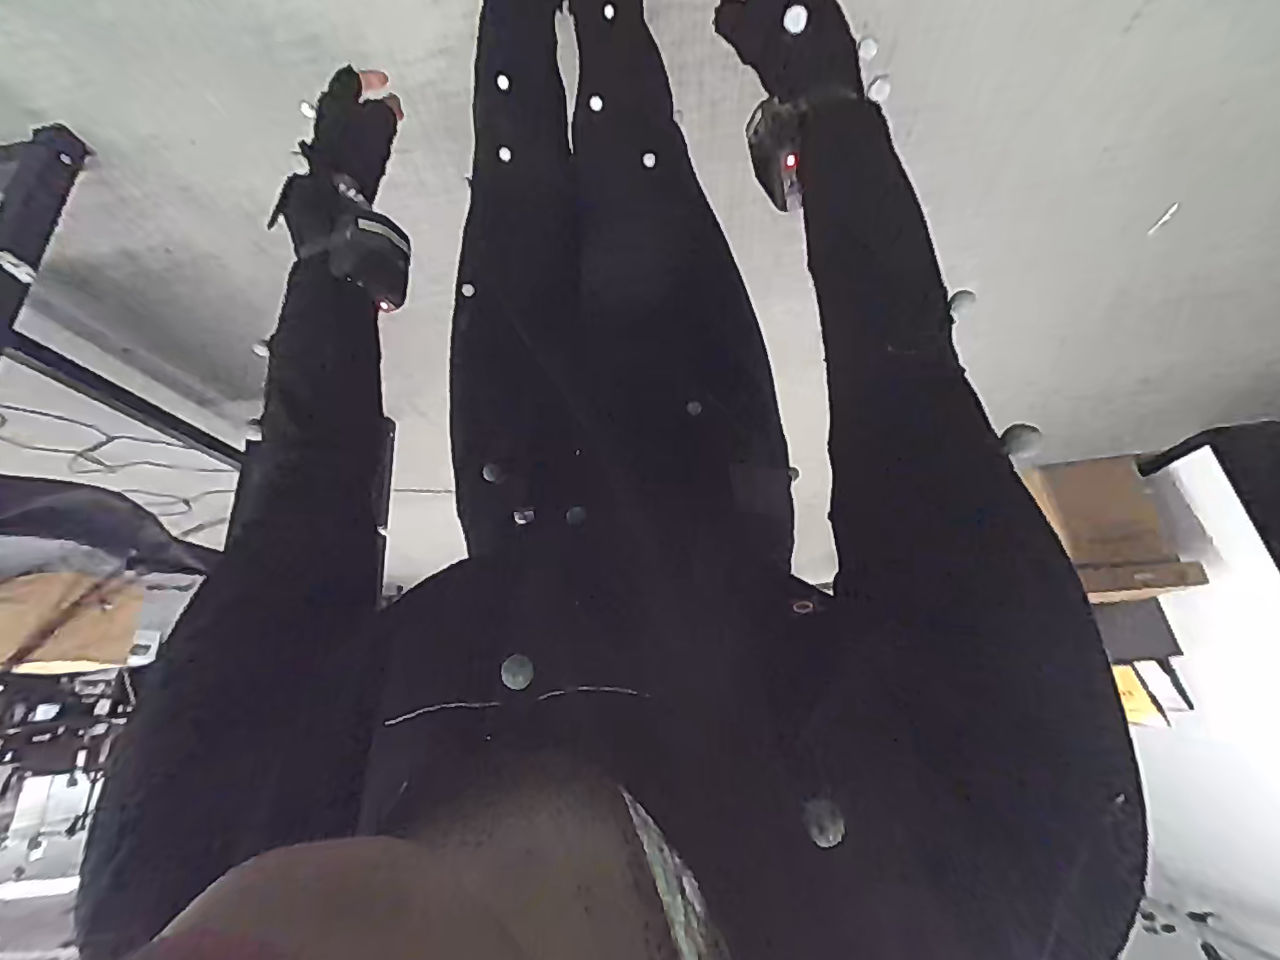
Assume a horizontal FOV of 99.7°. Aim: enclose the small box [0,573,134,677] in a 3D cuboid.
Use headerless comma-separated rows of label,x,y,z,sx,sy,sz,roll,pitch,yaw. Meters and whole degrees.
small box,-1.158,0.287,1.060,0.179,0.176,0.168,-7,158,2
